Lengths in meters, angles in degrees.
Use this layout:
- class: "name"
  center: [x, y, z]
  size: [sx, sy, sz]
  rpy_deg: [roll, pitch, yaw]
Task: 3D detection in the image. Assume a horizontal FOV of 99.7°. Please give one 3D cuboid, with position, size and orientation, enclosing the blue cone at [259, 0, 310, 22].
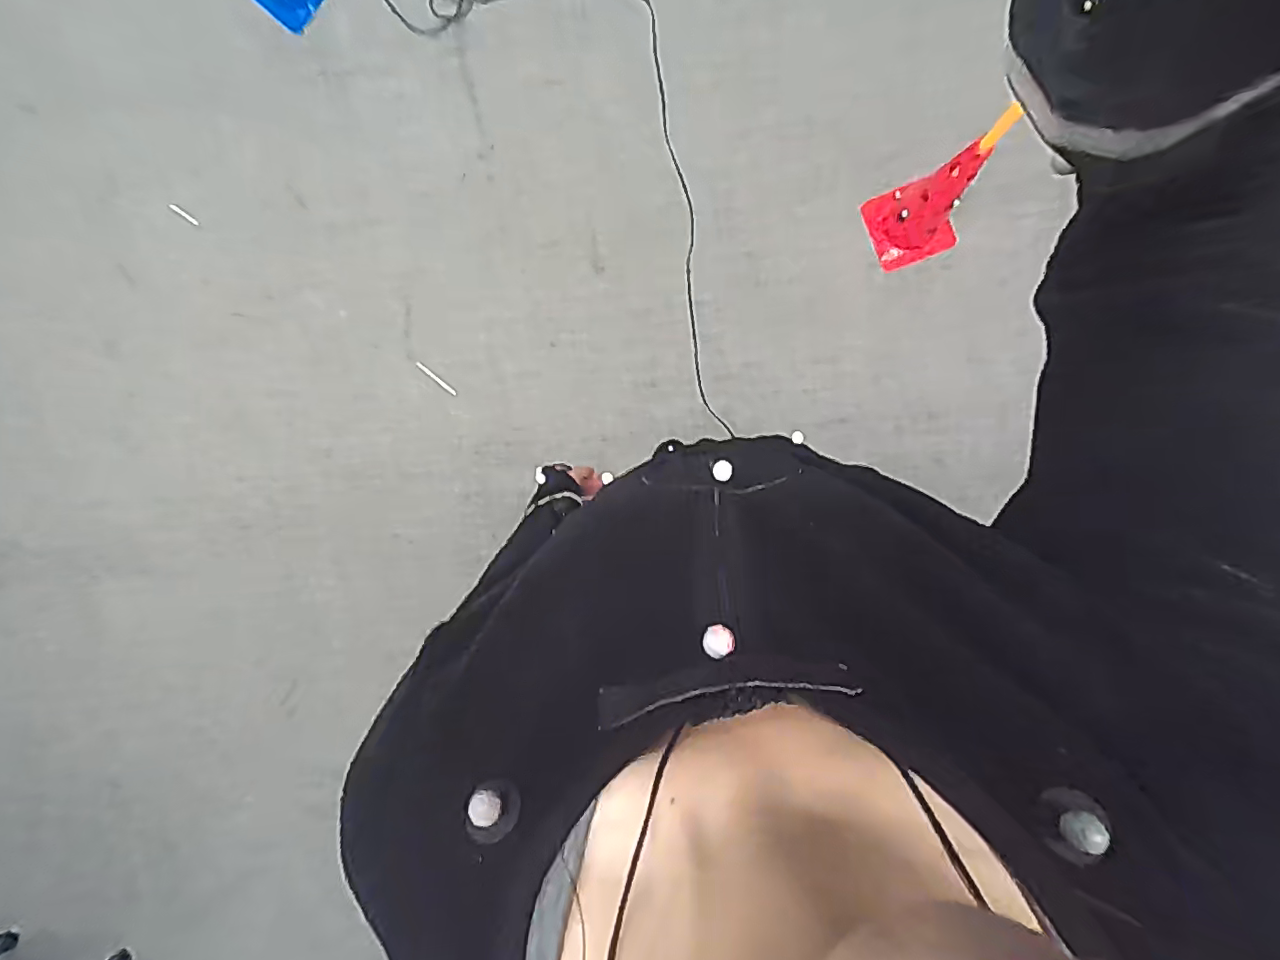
- class: "blue cone"
  center: [-0.985, -1.365, 1.320]
  size: [0.192, 0.380, 0.193]
  rpy_deg: [40, 97, 0]
